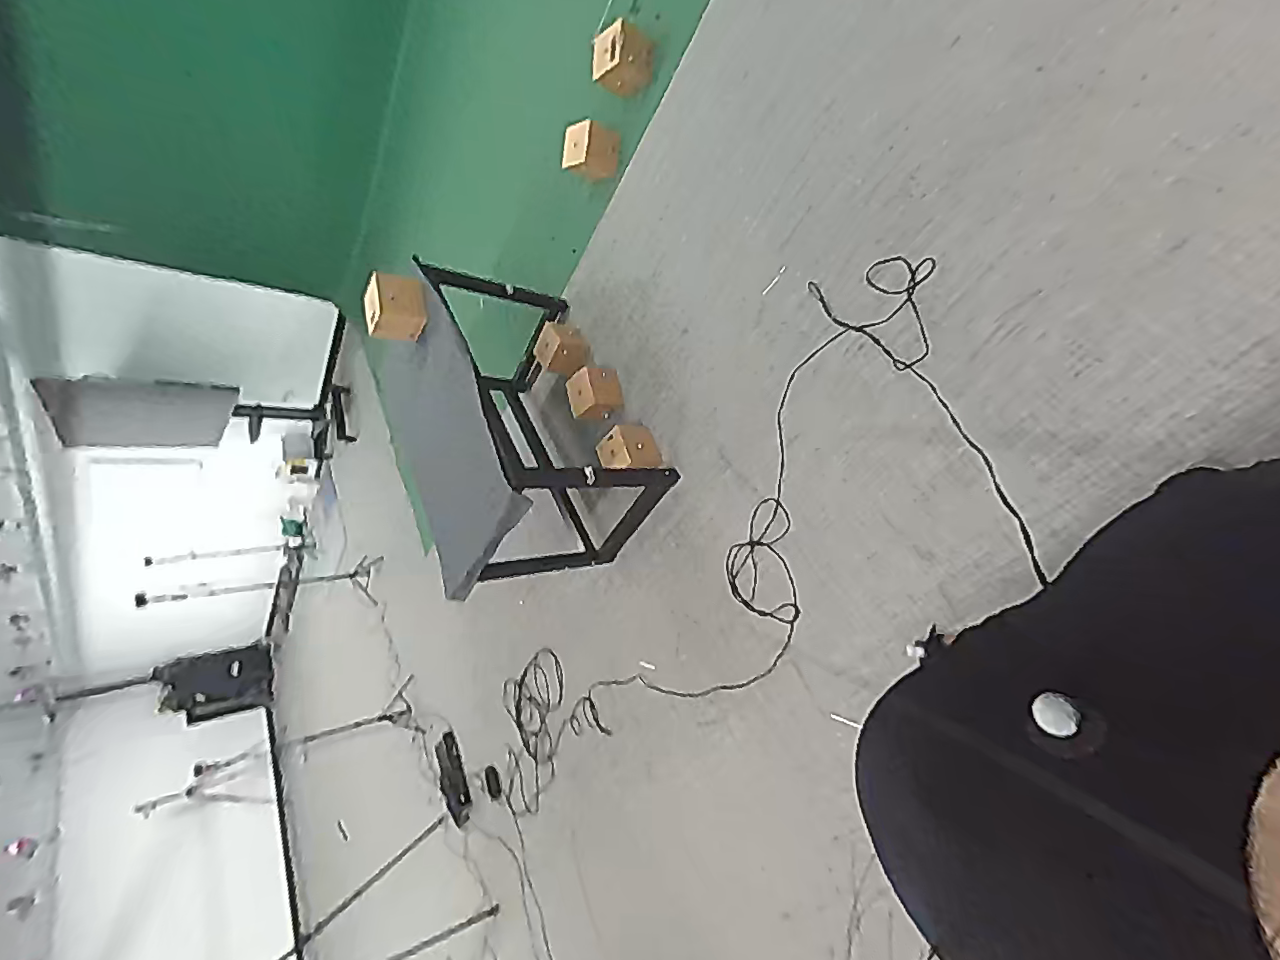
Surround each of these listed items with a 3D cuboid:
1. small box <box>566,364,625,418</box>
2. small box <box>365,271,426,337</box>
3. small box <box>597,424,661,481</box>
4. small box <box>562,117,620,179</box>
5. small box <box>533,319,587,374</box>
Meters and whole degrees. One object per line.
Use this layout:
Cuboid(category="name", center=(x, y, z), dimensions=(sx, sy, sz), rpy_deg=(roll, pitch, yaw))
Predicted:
Cuboid(category="small box", center=(-0.191, -0.381, 2.344), dimensions=(0.168, 0.176, 0.179), rpy_deg=(-30, 70, 44))
Cuboid(category="small box", center=(-0.928, -0.660, 2.055), dimensions=(0.168, 0.176, 0.179), rpy_deg=(-30, 70, 46))
Cuboid(category="small box", center=(-0.041, -0.111, 2.186), dimensions=(0.168, 0.176, 0.179), rpy_deg=(-39, 64, 40))
Cuboid(category="small box", center=(-0.215, -1.438, 2.357), dimensions=(0.179, 0.176, 0.168), rpy_deg=(19, 104, 45))
Cuboid(category="small box", center=(-0.368, -0.620, 2.528), dimensions=(0.168, 0.176, 0.179), rpy_deg=(55, 127, 32))
